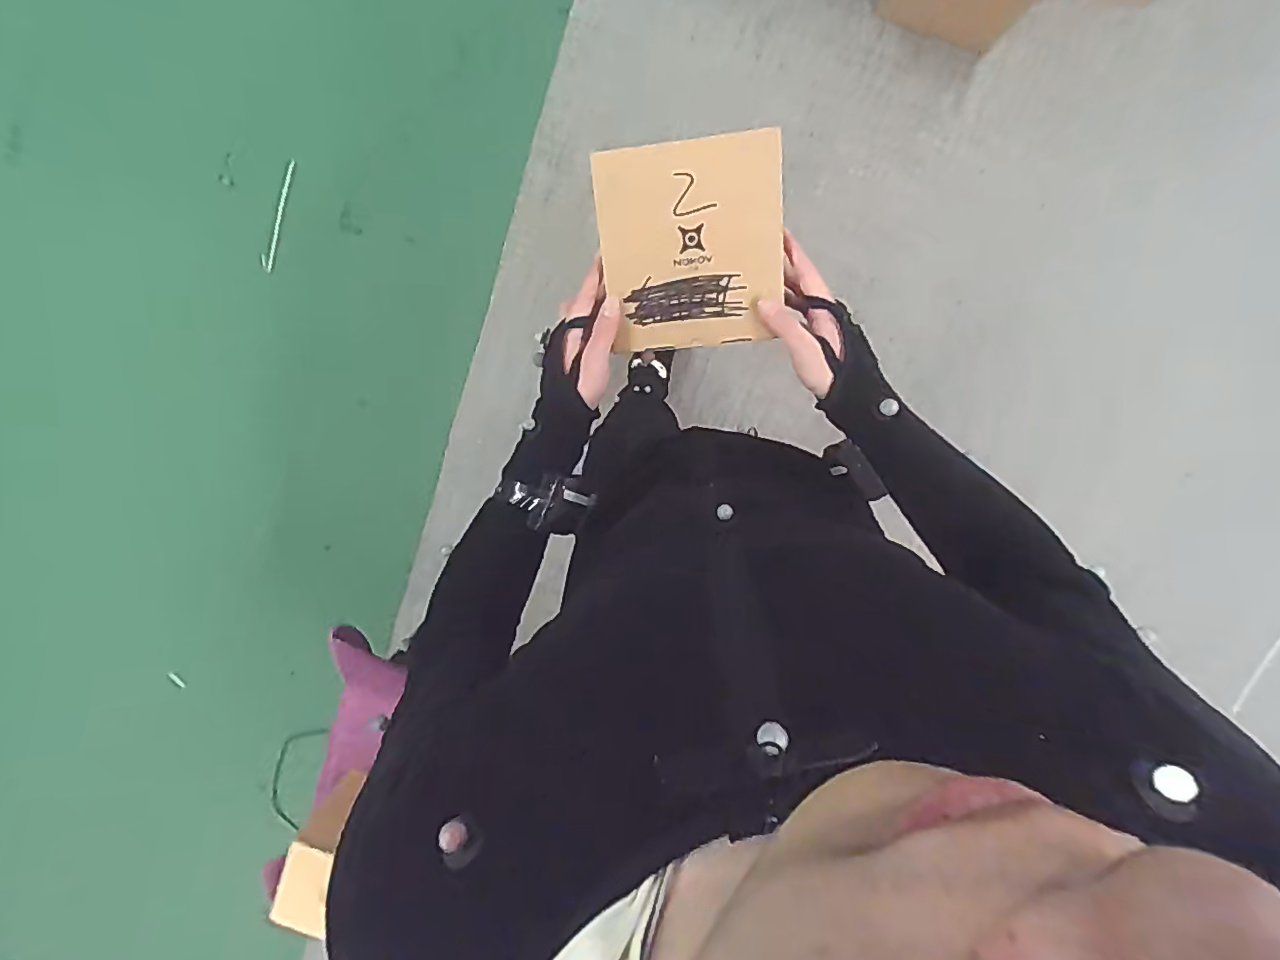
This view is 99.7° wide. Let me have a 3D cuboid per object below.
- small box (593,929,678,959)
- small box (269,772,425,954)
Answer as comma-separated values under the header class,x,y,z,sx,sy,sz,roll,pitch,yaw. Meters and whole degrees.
class,x,y,z,sx,sy,sz,roll,pitch,yaw
small box,-0.022,0.985,0.992,0.168,0.176,0.179,18,102,1
small box,-0.514,0.675,0.970,0.168,0.176,0.179,21,101,-1
